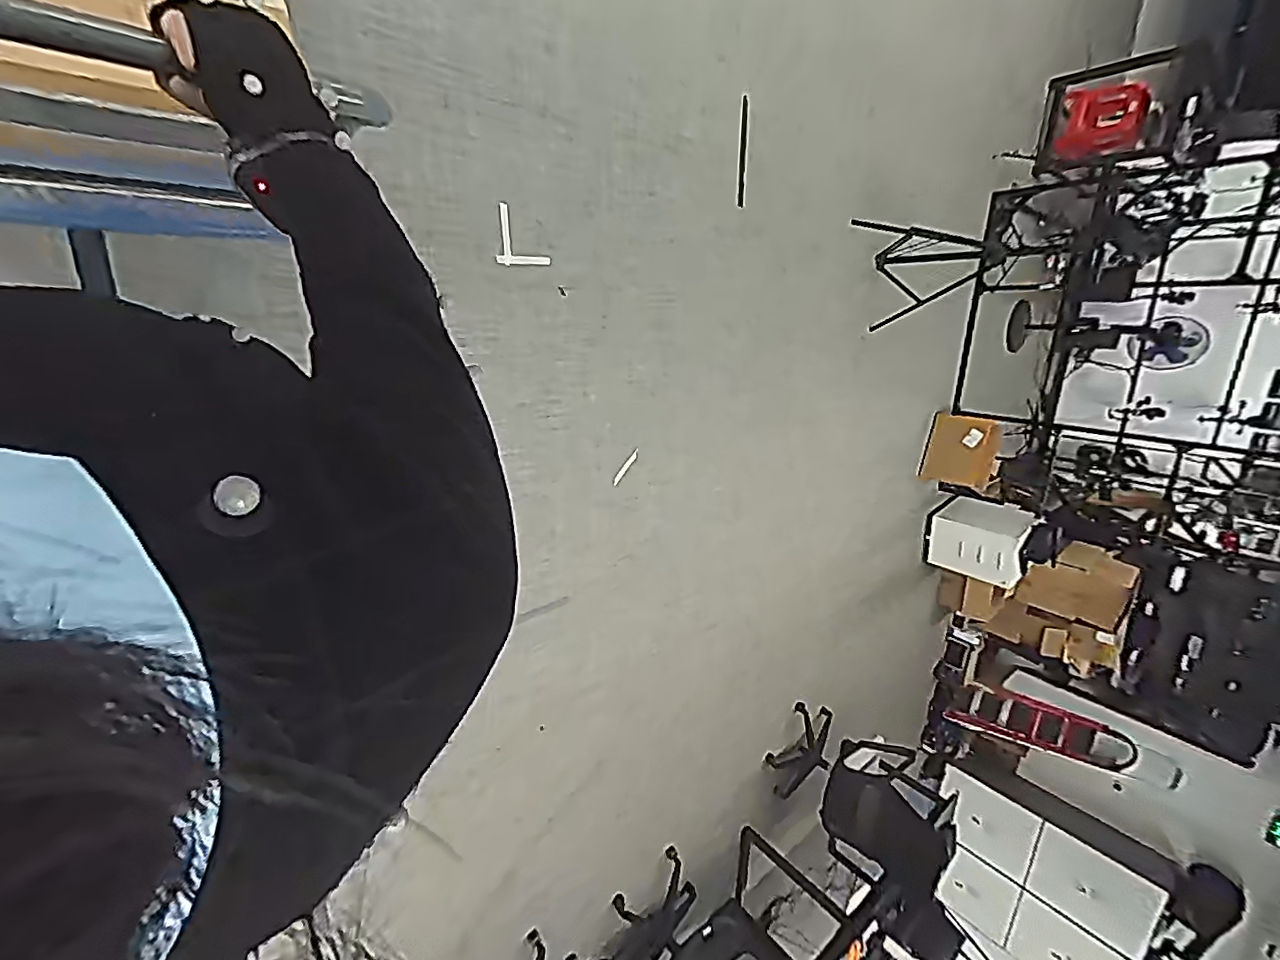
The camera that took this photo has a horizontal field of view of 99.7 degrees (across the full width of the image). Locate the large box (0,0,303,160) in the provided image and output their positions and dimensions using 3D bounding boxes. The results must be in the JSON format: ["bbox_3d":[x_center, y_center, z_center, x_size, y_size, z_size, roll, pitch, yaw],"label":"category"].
[{"bbox_3d":[-0.763,-0.666,0.752,0.408,0.320,0.320,-19,116,-38],"label":"large box"}]
